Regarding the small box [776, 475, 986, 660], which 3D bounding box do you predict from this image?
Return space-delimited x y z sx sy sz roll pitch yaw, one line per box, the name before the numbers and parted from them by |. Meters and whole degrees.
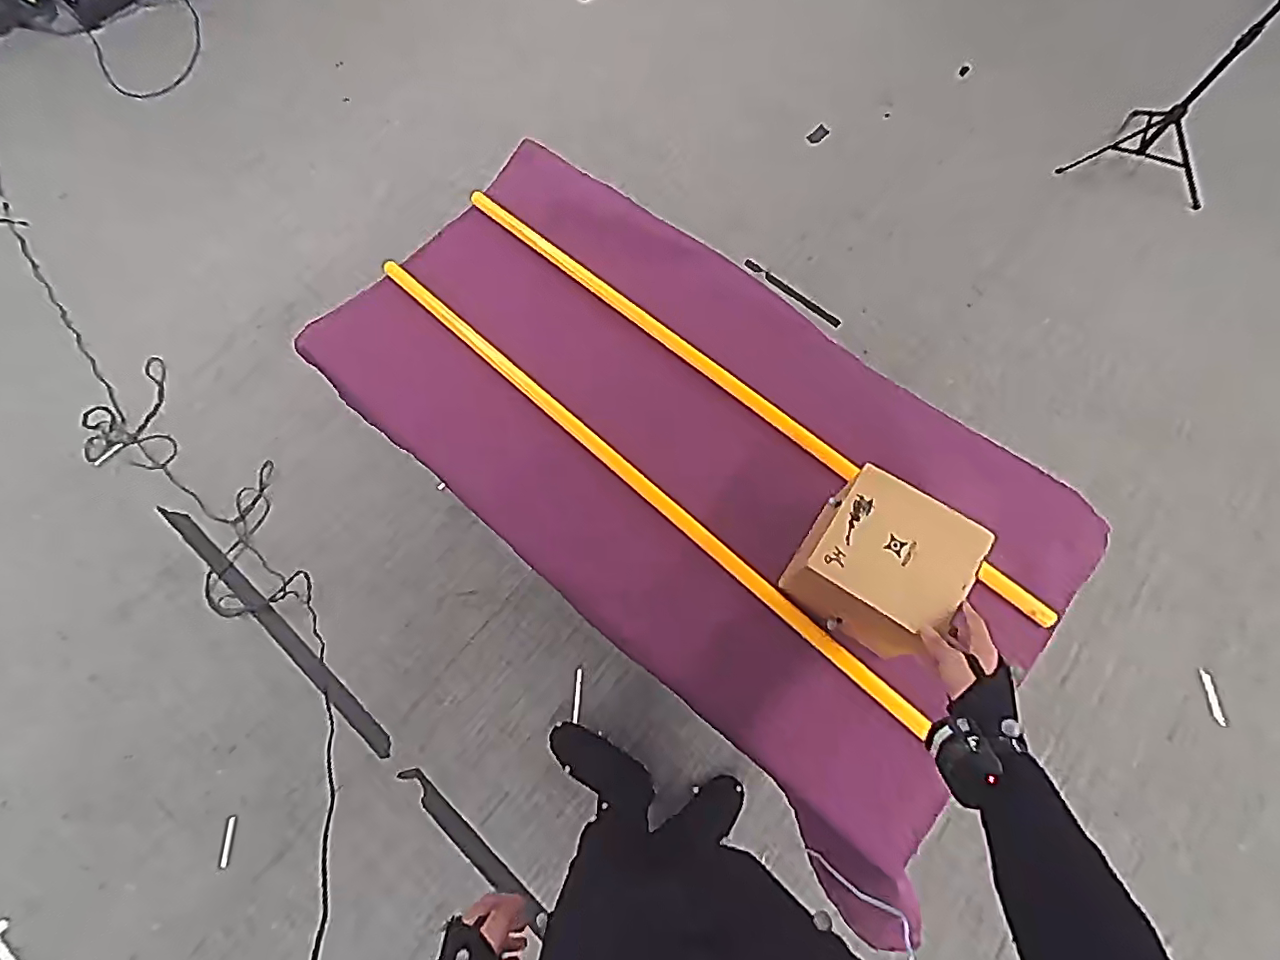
small box | 0.314 0.125 0.740 0.179 0.176 0.168 33 74 12
